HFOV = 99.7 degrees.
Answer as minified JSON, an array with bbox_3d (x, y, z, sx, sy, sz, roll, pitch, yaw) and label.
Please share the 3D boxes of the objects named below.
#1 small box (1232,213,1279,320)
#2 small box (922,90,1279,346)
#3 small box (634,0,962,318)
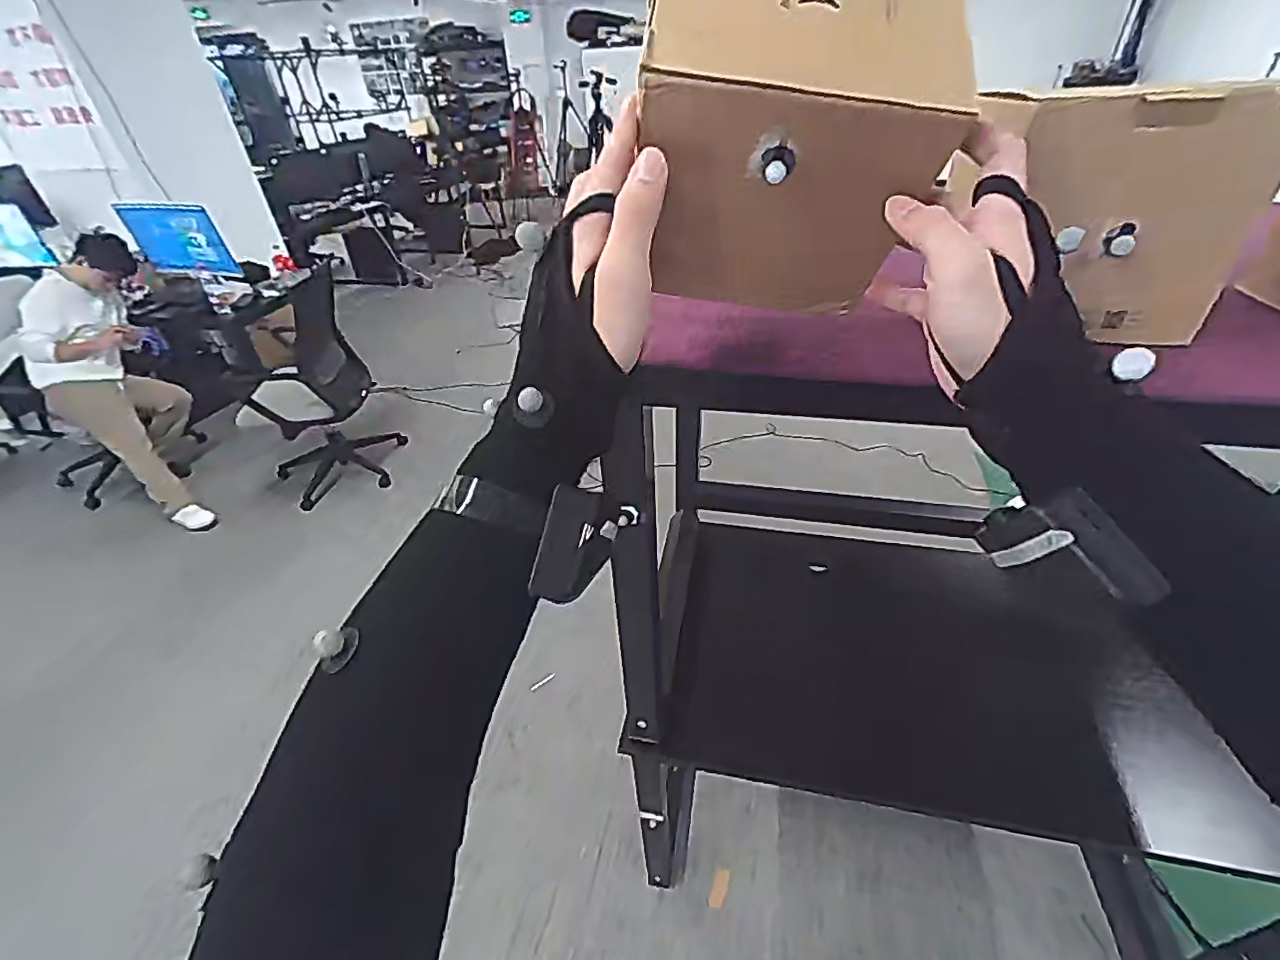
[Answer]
[{"bbox_3d":[0.639,-0.197,0.408,0.179,0.176,0.168,5,36,13],"label":"small box"},{"bbox_3d":[0.364,-0.225,0.466,0.168,0.176,0.179,6,37,11],"label":"small box"},{"bbox_3d":[0.094,-0.241,0.391,0.179,0.176,0.168,10,67,1],"label":"small box"}]
